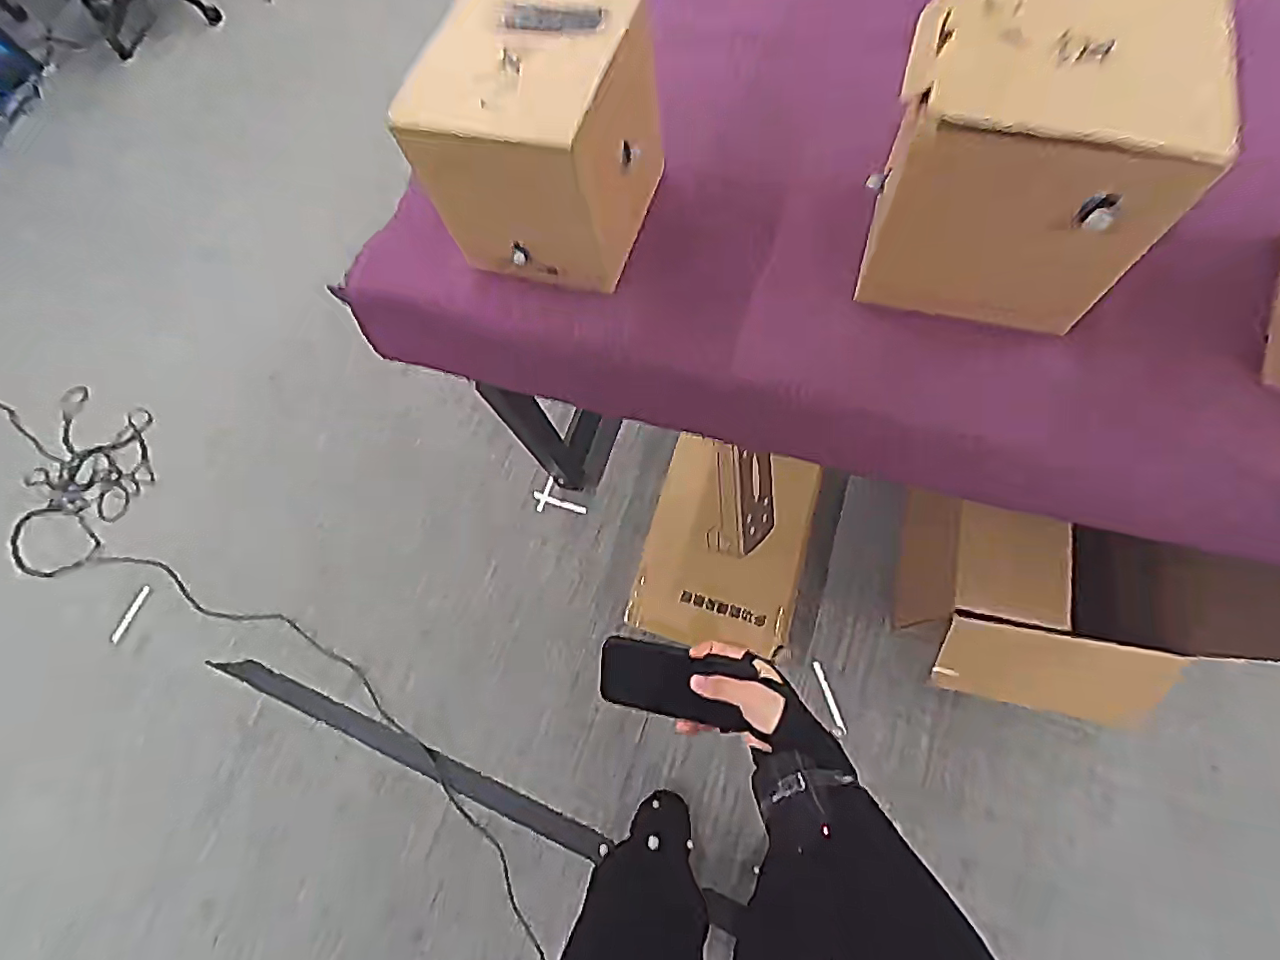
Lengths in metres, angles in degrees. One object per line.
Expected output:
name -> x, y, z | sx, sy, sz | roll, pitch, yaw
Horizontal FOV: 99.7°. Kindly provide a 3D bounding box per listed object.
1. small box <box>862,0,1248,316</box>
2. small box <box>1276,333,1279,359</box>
small box -> 0.296, -0.253, 0.422 | 0.179, 0.176, 0.168 | 15, 71, 13
small box -> 0.588, -0.151, 0.345 | 0.179, 0.176, 0.168 | 22, 75, 15
